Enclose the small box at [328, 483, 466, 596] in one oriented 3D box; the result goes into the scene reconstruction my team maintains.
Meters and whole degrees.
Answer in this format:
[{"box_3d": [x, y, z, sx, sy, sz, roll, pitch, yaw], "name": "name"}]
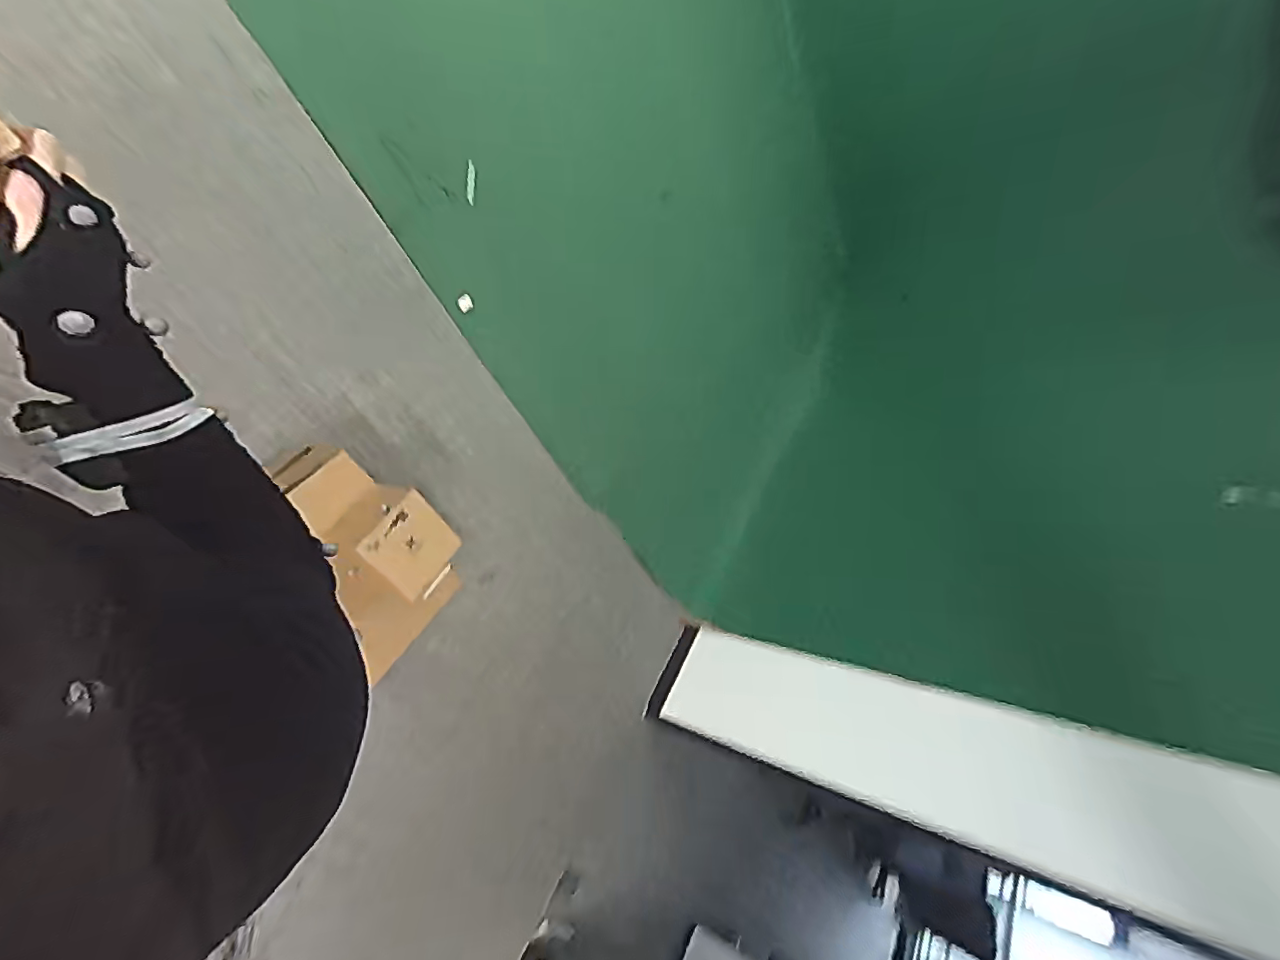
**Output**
[{"box_3d": [-0.526, 0.122, 1.175, 0.168, 0.176, 0.179, -56, 134, -33], "name": "small box"}]
